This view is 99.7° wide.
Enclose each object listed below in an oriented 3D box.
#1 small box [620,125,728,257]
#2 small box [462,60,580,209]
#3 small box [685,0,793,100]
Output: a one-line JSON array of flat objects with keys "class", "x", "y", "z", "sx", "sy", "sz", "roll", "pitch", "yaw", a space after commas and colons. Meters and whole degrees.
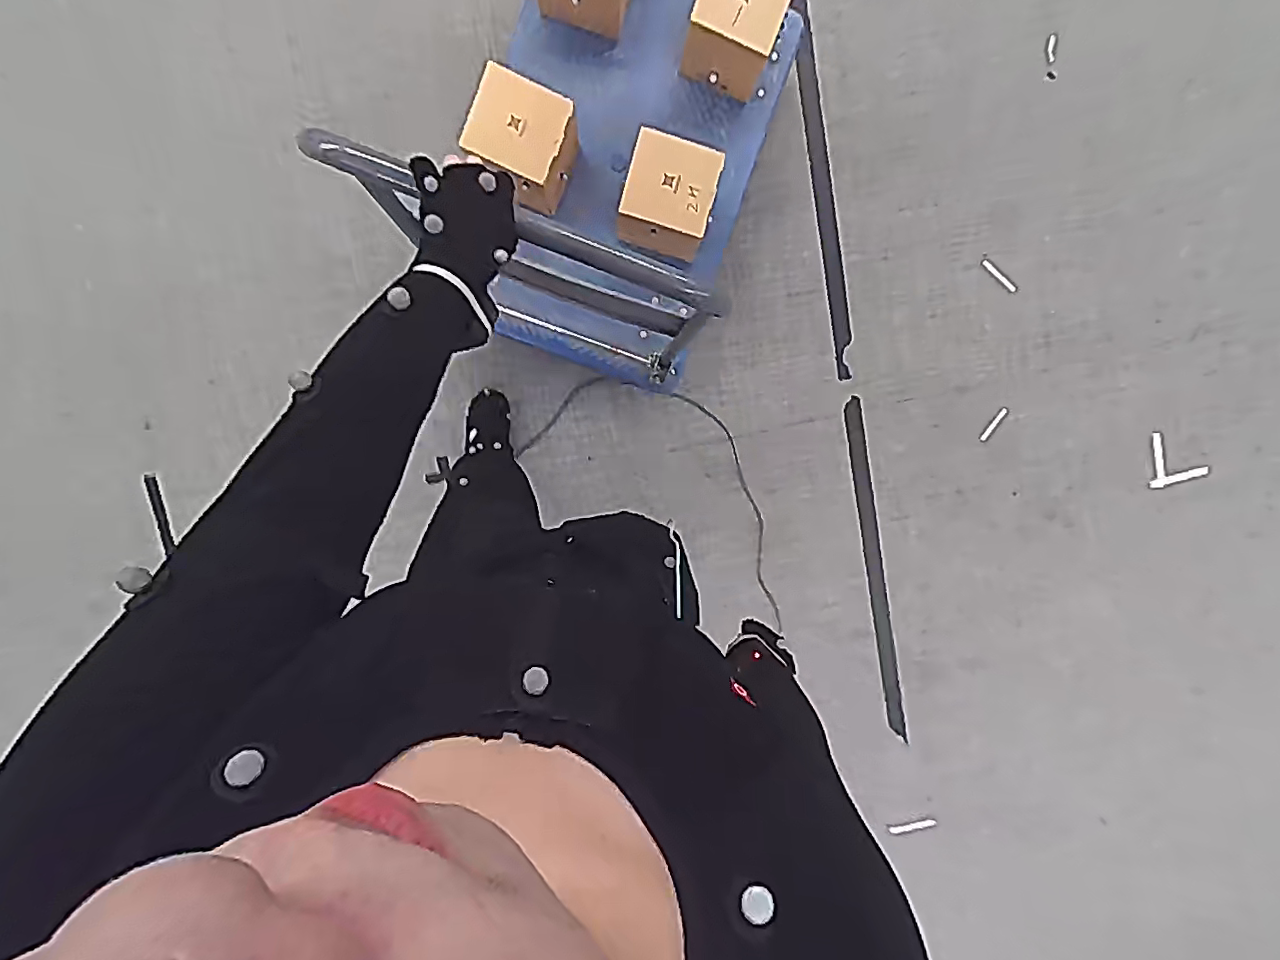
[{"class": "small box", "x": 0.062, "y": -0.586, "z": 1.122, "sx": 0.179, "sy": 0.176, "sz": 0.168, "roll": 16, "pitch": 96, "yaw": -5}, {"class": "small box", "x": -0.232, "y": -0.682, "z": 1.094, "sx": 0.179, "sy": 0.176, "sz": 0.168, "roll": 22, "pitch": 95, "yaw": -7}, {"class": "small box", "x": 0.200, "y": -0.924, "z": 1.087, "sx": 0.168, "sy": 0.176, "sz": 0.179, "roll": 21, "pitch": 97, "yaw": -6}]
